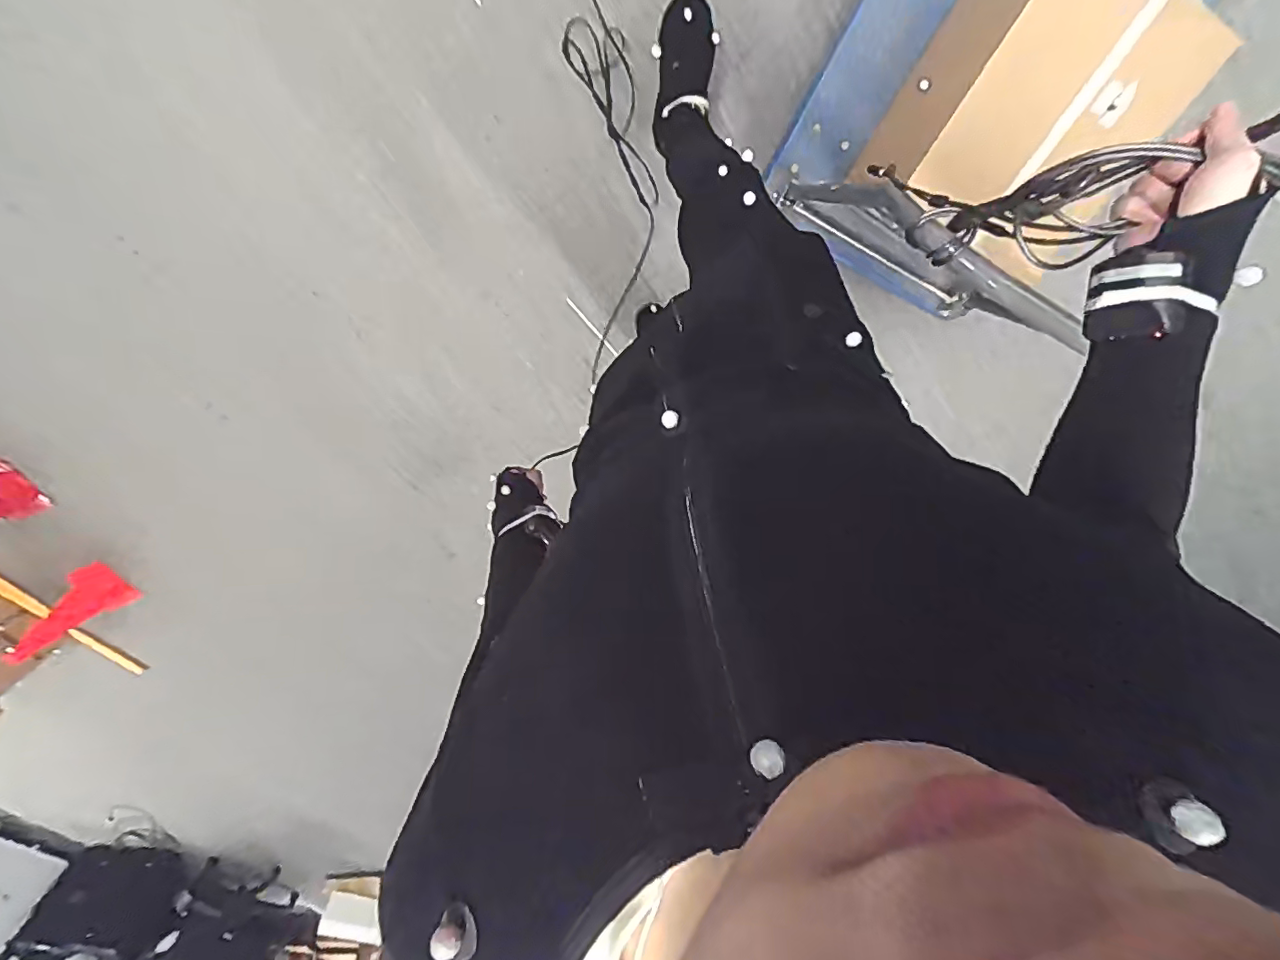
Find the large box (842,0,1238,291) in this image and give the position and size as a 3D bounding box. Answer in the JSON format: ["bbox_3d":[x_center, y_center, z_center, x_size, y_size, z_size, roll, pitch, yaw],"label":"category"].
[{"bbox_3d":[0.640,-0.616,0.960,0.320,0.320,0.408,24,119,-14],"label":"large box"}]
